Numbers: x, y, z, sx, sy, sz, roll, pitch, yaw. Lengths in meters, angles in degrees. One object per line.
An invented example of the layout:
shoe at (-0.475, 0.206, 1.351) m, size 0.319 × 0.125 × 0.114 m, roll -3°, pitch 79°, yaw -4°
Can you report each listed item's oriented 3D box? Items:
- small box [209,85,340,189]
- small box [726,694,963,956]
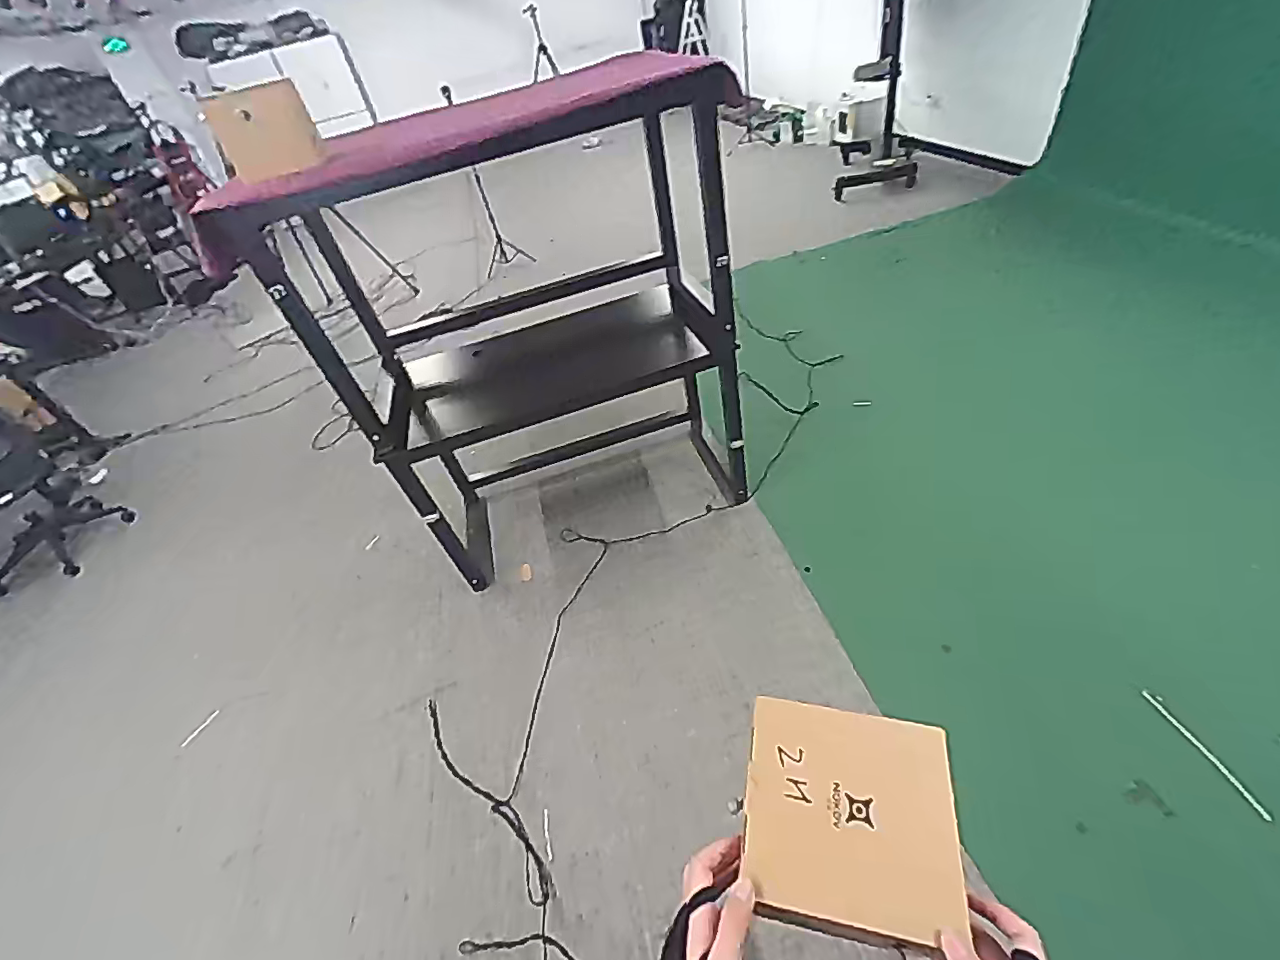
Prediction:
small box at (-0.835, -0.796, 1.257) m, size 0.179 × 0.176 × 0.168 m, roll -19°, pitch 42°, yaw -7°
small box at (0.181, 0.333, 0.526) m, size 0.179 × 0.176 × 0.168 m, roll 5°, pitch 49°, yaw 13°
